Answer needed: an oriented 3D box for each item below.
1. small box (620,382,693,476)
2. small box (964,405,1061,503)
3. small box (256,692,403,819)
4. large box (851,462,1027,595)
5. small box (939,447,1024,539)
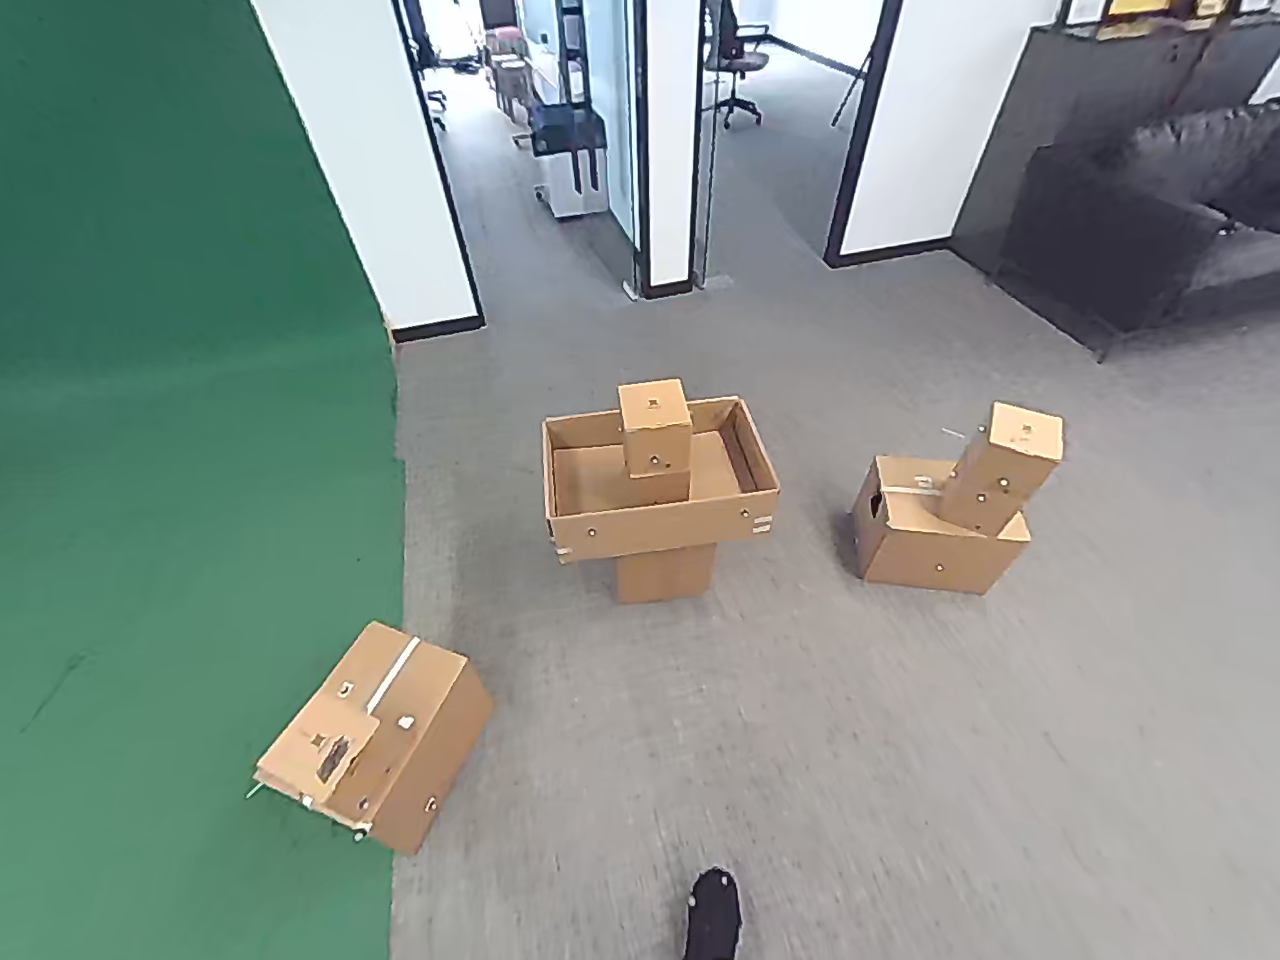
[{"bbox_3d":[0.040,-0.133,1.415,0.168,0.176,0.179,-7,49,-4],"label":"small box"},{"bbox_3d":[1.007,-0.070,1.470,0.168,0.176,0.179,20,53,19],"label":"small box"},{"bbox_3d":[-0.635,0.581,1.132,0.179,0.176,0.168,17,49,16],"label":"small box"},{"bbox_3d":[0.966,0.164,1.814,0.408,0.320,0.320,4,47,7],"label":"large box"},{"bbox_3d":[1.007,0.039,1.594,0.168,0.176,0.179,21,52,19],"label":"small box"}]
